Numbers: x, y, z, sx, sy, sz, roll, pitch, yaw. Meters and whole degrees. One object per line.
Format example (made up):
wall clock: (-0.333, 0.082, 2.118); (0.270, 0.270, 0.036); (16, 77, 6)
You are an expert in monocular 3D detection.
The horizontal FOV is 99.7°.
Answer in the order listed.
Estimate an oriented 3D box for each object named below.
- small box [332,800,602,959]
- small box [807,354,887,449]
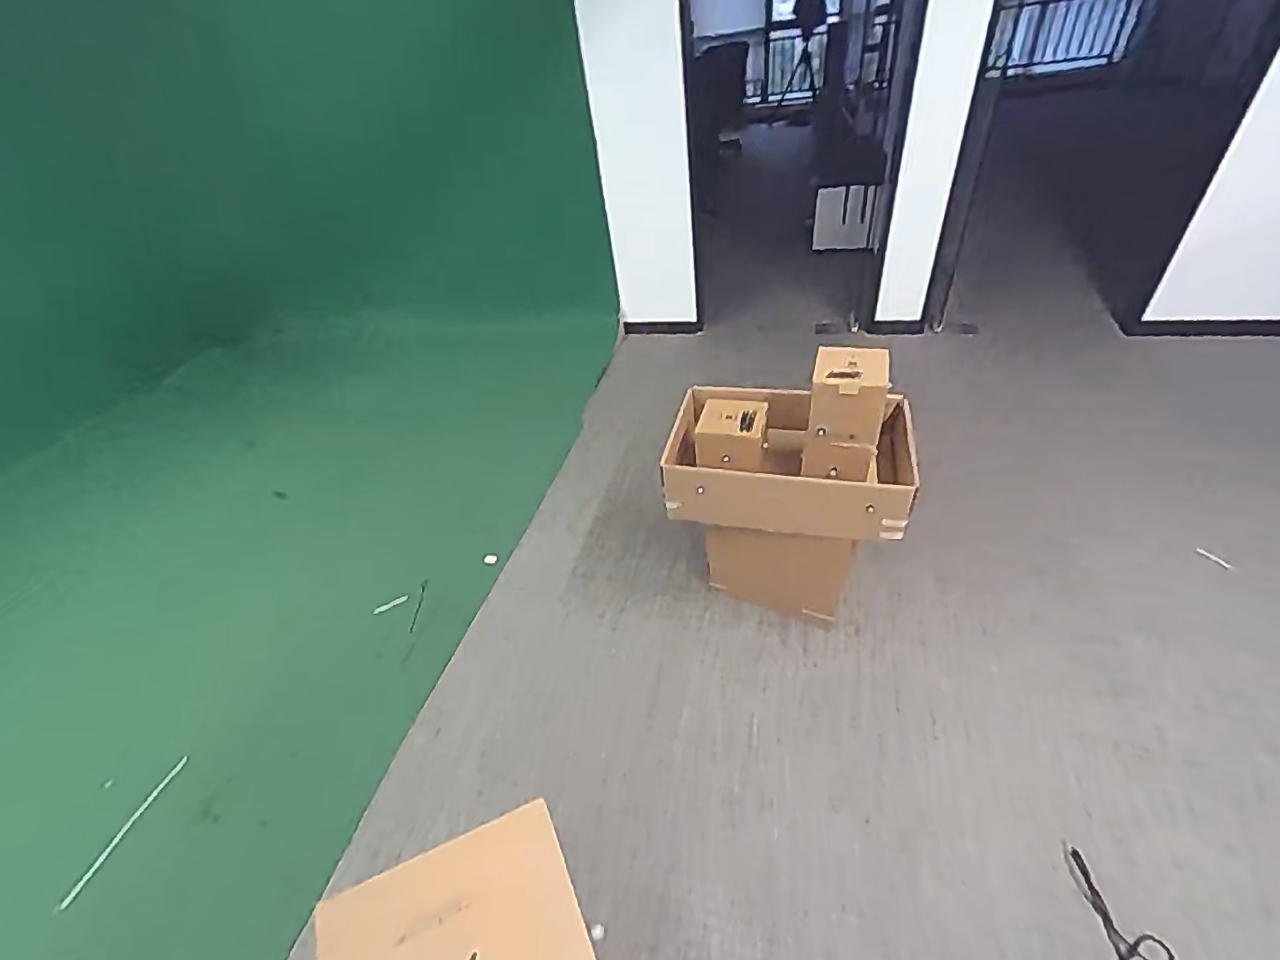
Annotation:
small box: (-0.114, 0.387, 0.405); (0.168, 0.176, 0.179); (-13, 45, -22)
small box: (0.509, -0.194, 1.336); (0.168, 0.176, 0.179); (8, 42, 18)
